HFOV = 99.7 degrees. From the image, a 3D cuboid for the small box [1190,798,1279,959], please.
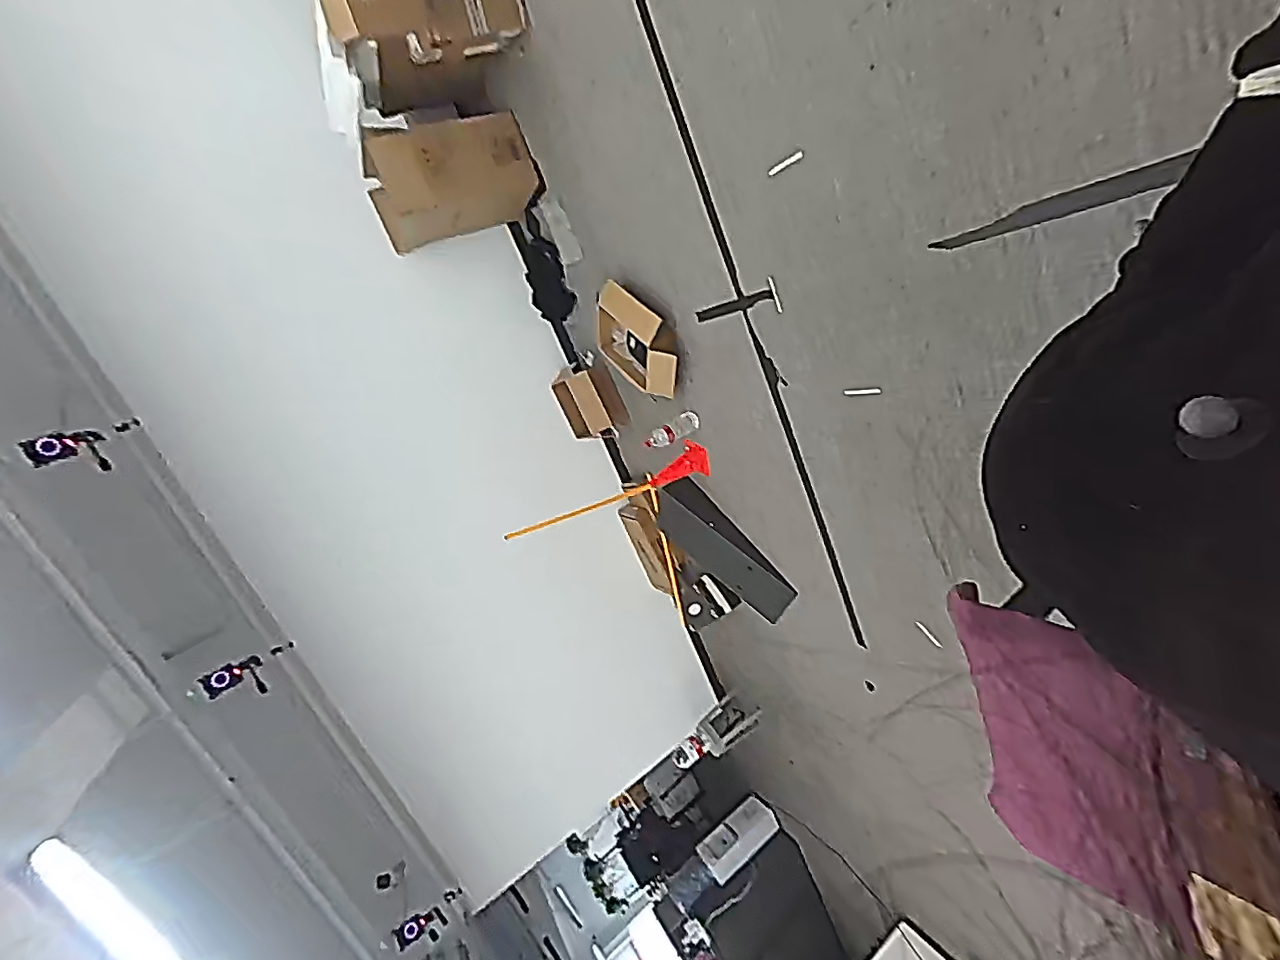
[{"bbox_3d":[0.860,0.560,0.691,0.179,0.176,0.168,15,130,62],"label":"small box"}]
